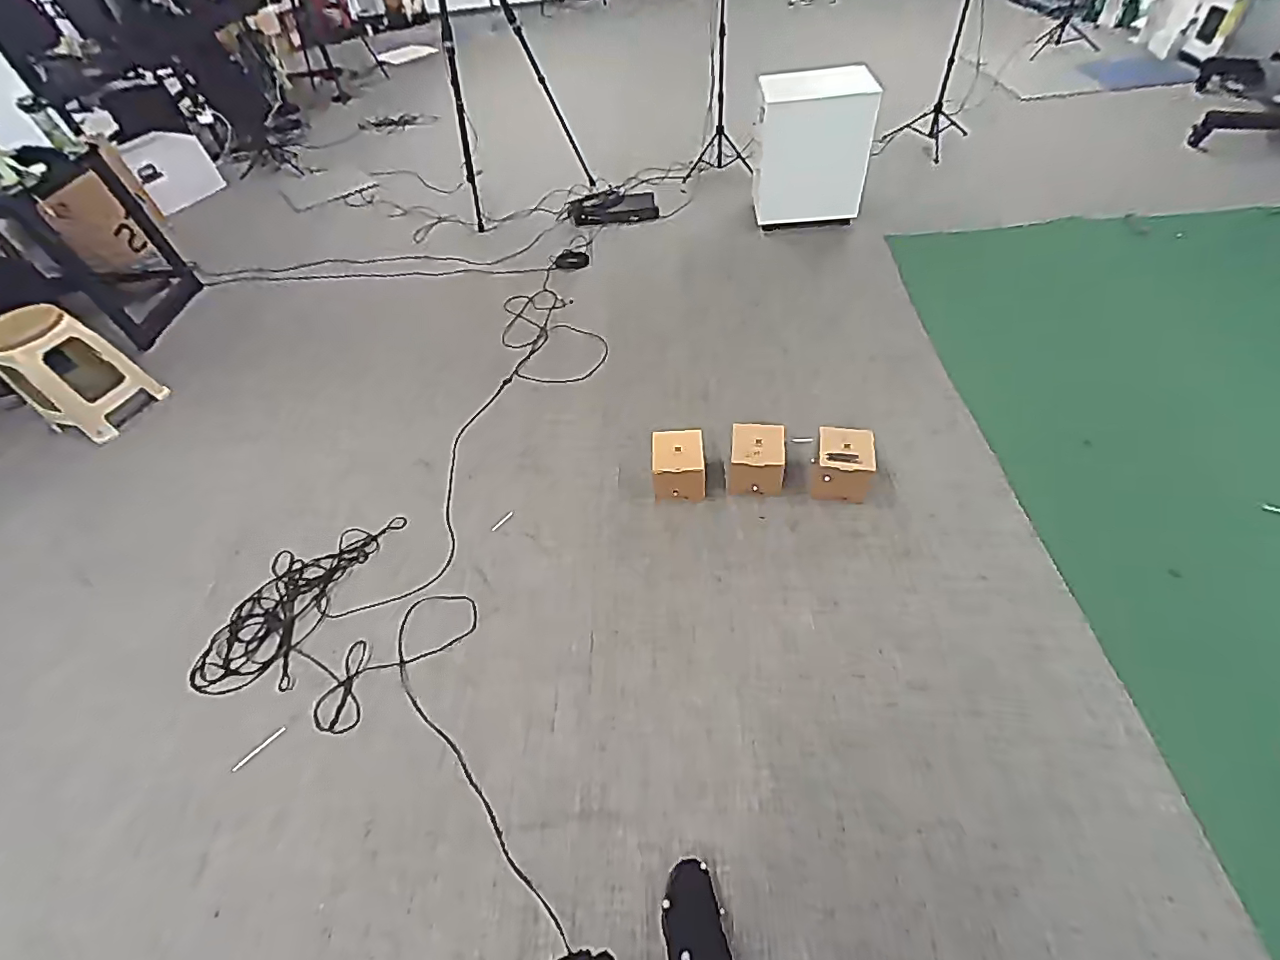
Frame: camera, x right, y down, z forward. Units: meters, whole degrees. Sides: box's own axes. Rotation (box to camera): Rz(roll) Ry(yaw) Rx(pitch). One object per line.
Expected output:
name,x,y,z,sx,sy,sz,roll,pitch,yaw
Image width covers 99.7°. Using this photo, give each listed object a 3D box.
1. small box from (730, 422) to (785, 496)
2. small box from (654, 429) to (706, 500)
small box,0.390,-0.070,1.795,0.168,0.176,0.179,3,52,10
small box,0.134,-0.051,1.814,0.168,0.176,0.179,-2,51,5
